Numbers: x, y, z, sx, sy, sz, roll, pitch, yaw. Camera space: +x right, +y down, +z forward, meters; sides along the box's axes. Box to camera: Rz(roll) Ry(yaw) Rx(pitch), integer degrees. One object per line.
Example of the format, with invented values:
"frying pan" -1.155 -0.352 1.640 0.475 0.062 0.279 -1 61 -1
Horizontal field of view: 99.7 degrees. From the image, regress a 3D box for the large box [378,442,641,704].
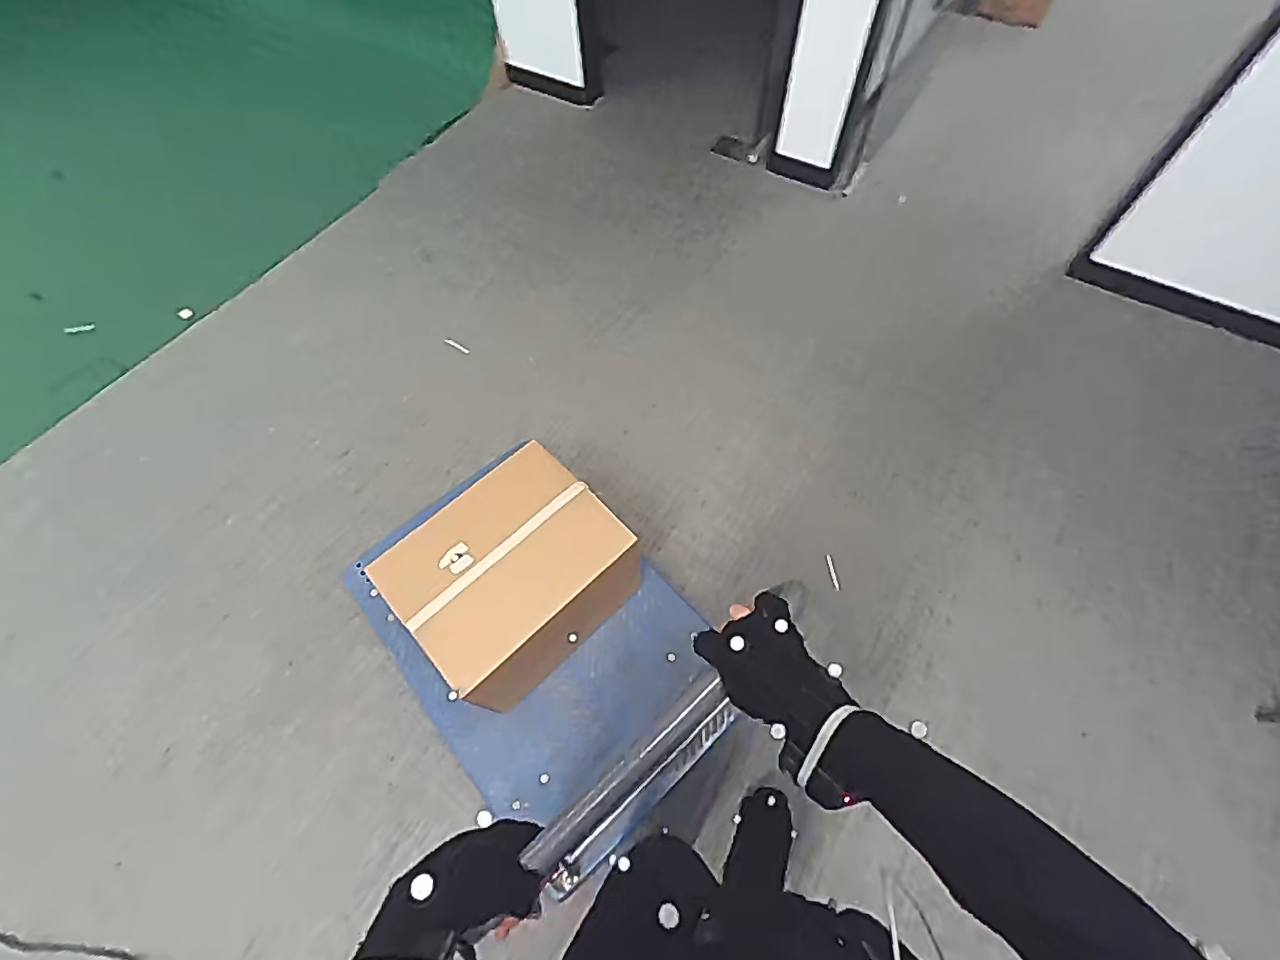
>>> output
"large box" -0.241 0.204 1.147 0.408 0.320 0.320 -42 69 -17
